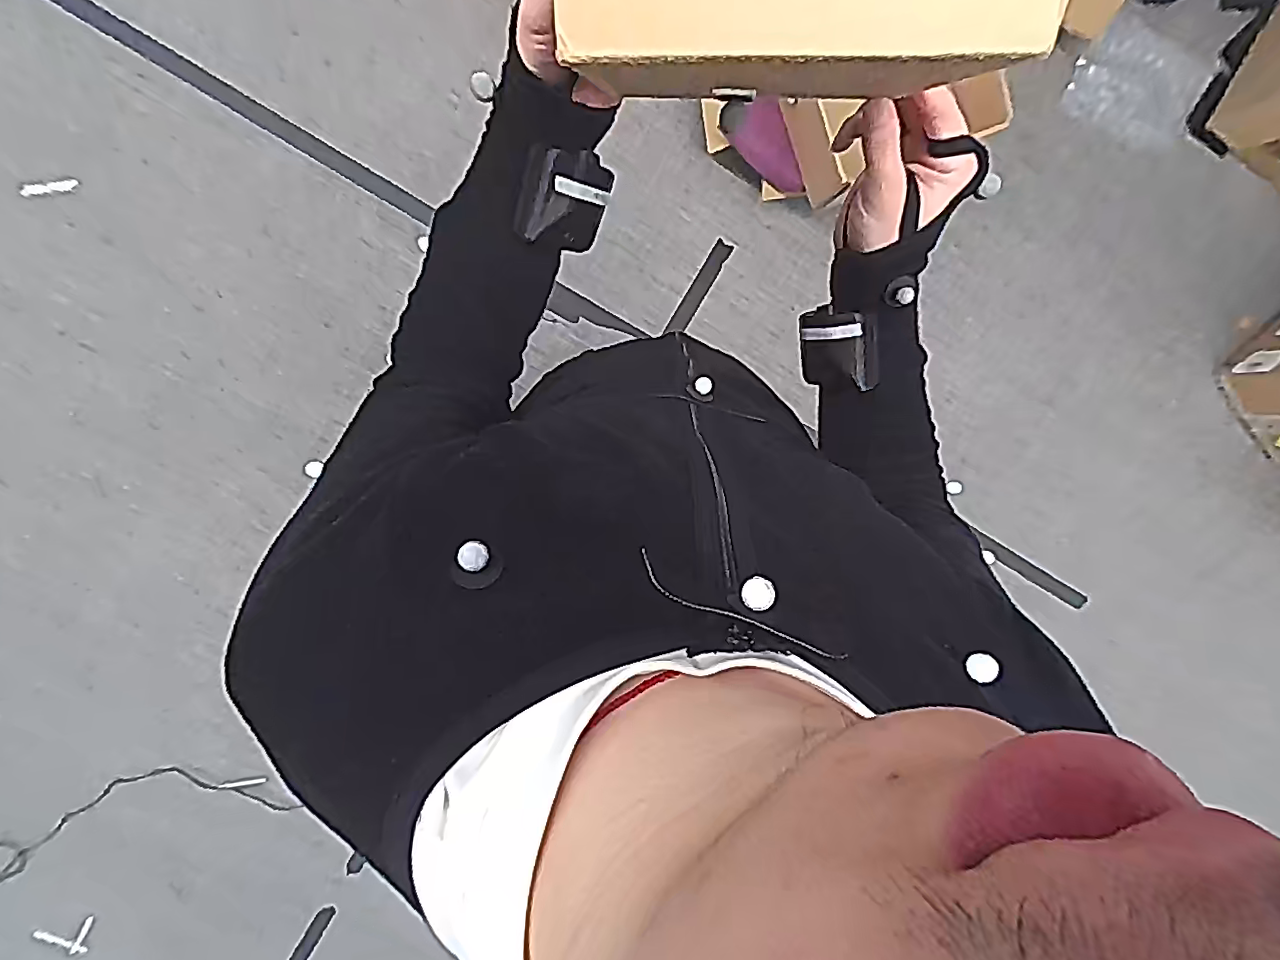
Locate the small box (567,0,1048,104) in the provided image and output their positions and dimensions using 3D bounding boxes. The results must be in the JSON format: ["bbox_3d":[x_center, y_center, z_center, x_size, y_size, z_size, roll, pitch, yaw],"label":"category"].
[{"bbox_3d":[0.063,-0.265,0.218,0.168,0.176,0.179,3,122,5],"label":"small box"}]
